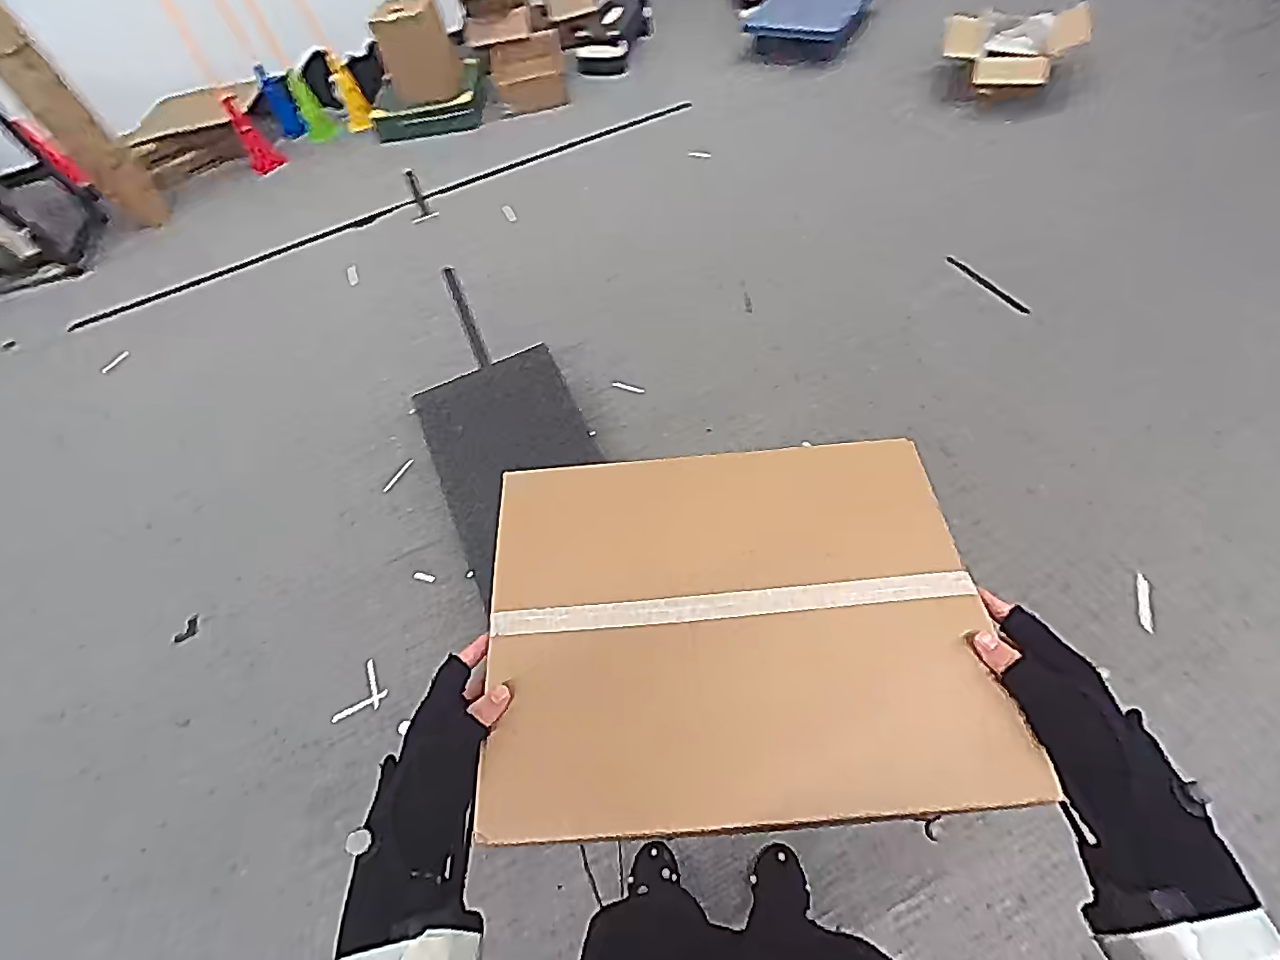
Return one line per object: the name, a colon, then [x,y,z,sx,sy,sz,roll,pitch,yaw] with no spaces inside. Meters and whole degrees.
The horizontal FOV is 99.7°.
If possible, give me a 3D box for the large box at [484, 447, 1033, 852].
large box: [0.082,0.193,0.587,0.408,0.320,0.320,-5,56,0]
